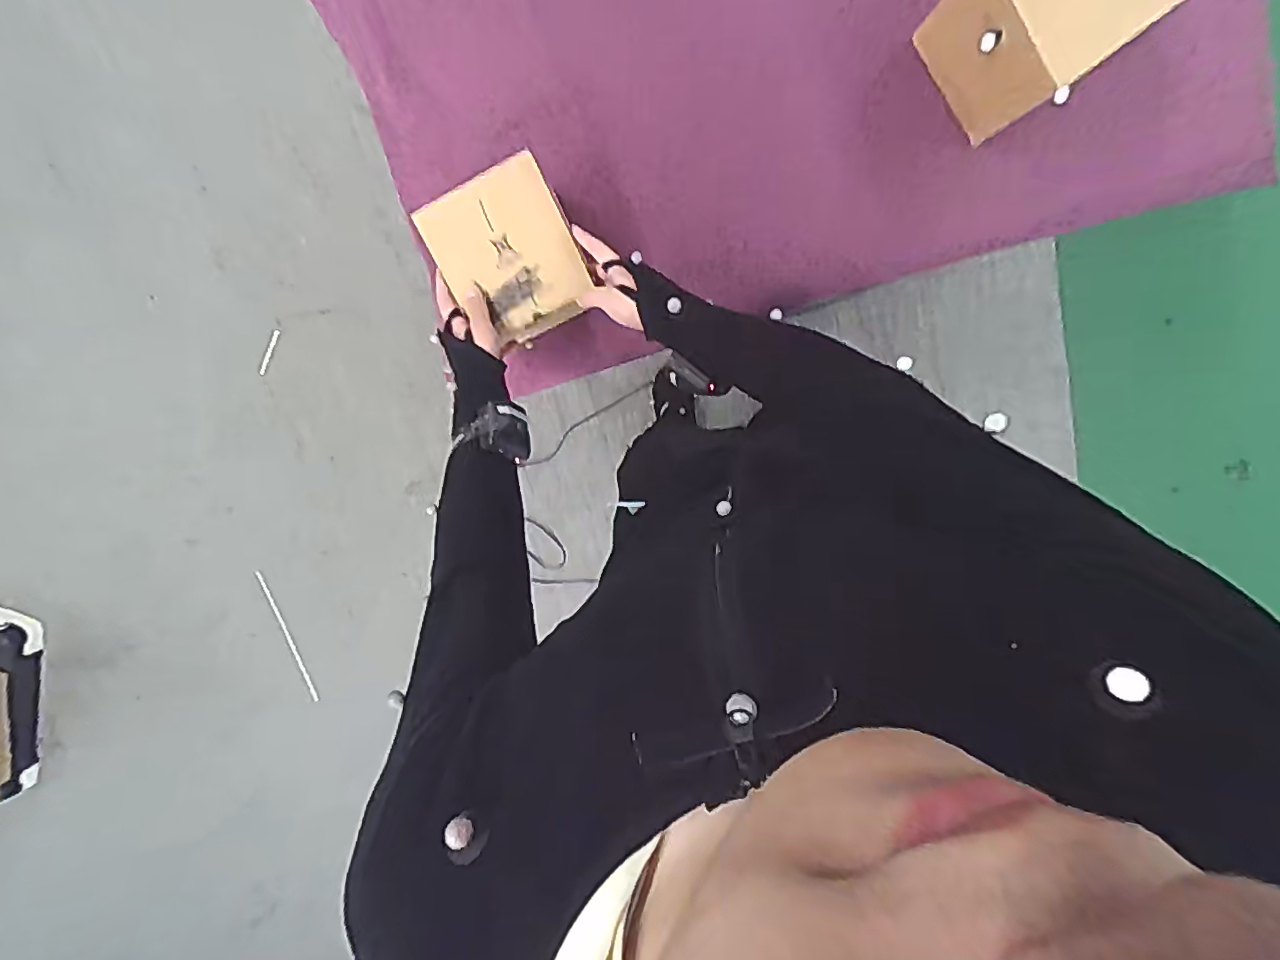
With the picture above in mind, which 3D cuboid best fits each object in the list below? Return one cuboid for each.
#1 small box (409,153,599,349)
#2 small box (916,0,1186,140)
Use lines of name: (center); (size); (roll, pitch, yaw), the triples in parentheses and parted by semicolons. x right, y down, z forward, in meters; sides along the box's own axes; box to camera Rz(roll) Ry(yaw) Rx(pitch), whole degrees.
small box: (-0.167, -0.291, 0.733); (0.168, 0.176, 0.179); (-25, 99, 6)
small box: (0.489, -0.563, 0.670); (0.168, 0.176, 0.179); (-36, 99, 8)
